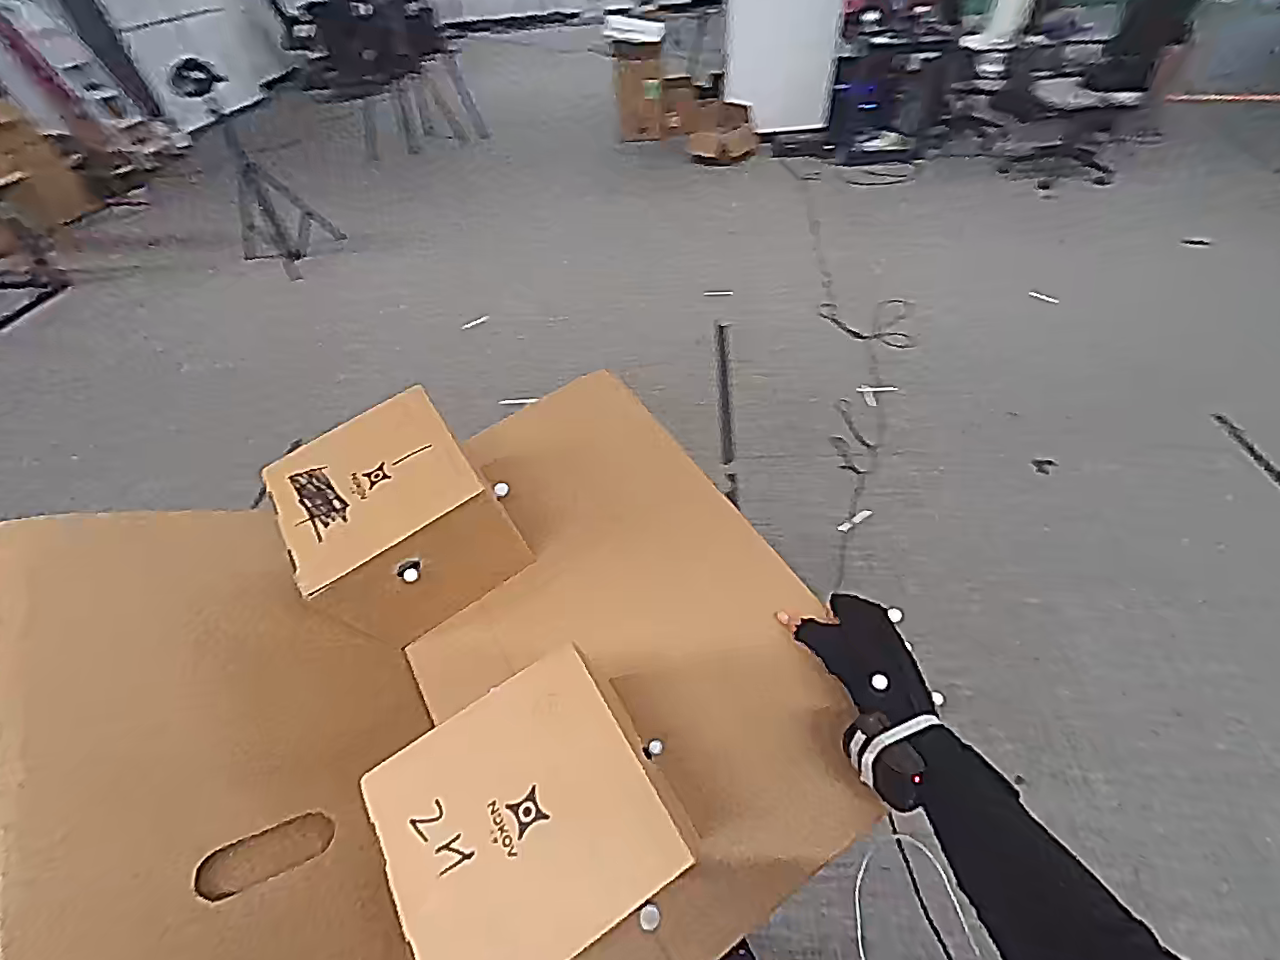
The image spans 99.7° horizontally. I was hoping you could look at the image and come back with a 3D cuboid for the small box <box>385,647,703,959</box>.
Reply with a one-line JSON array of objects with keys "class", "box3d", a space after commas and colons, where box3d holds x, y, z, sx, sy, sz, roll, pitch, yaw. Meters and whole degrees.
[{"class": "small box", "box3d": [-0.064, 0.267, 0.438, 0.179, 0.176, 0.168, -30, 59, -9]}]
